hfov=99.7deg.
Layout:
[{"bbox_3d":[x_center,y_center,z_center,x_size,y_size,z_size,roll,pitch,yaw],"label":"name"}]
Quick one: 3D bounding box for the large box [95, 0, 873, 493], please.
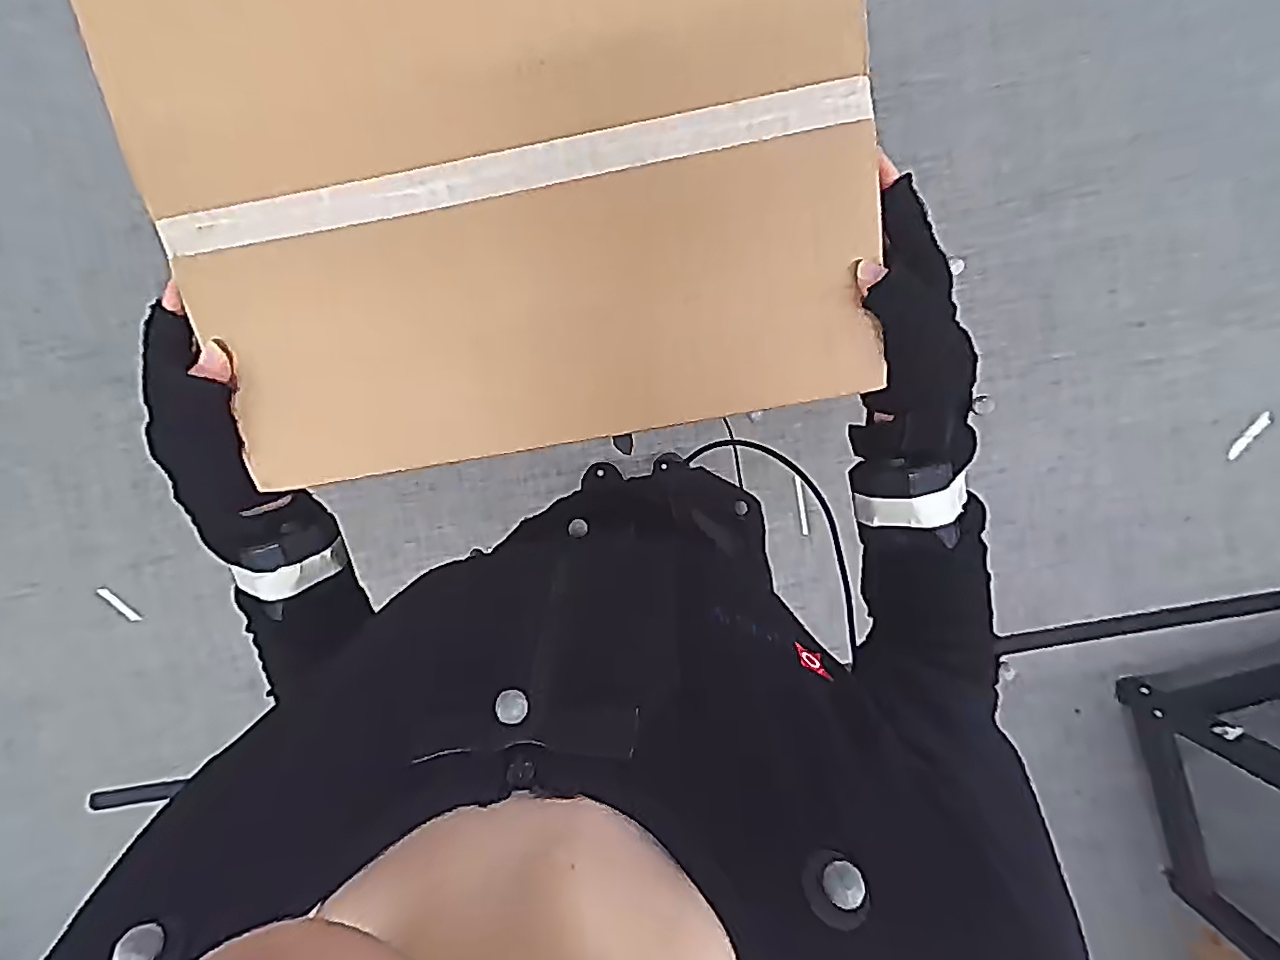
[{"bbox_3d":[-0.071,-0.210,0.456,0.408,0.320,0.320,-10,104,4],"label":"large box"}]
